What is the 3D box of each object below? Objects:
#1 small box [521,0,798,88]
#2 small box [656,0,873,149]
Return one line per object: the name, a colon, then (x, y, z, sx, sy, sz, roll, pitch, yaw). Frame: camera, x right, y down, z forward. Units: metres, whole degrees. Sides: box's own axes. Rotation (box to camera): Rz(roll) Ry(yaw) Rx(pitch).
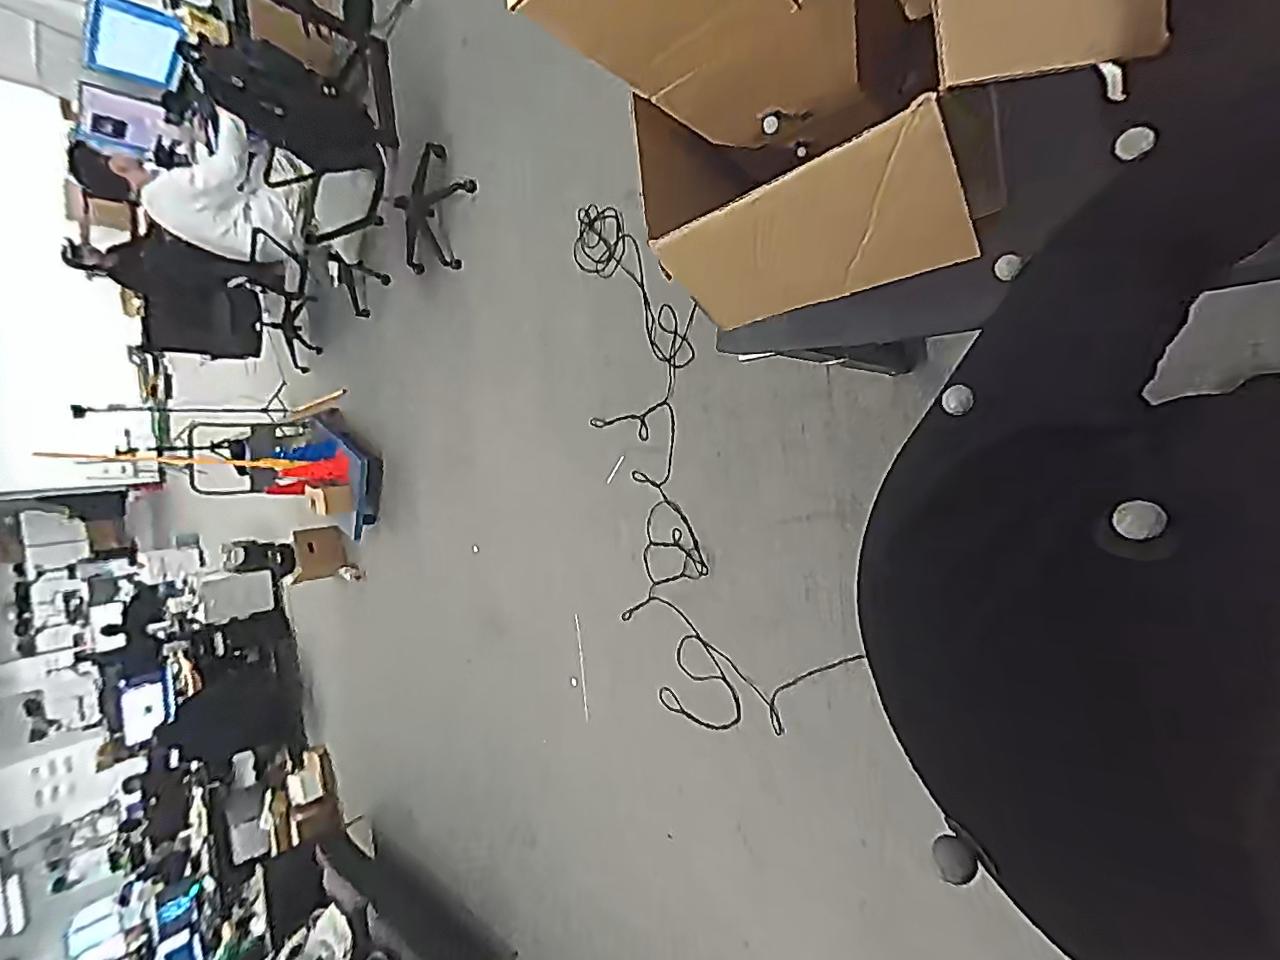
small box: (0.020, -0.464, 0.434, 0.179, 0.176, 0.168, 2, 97, 41)
small box: (0.128, -0.483, 0.553, 0.168, 0.176, 0.179, 1, 98, 41)
